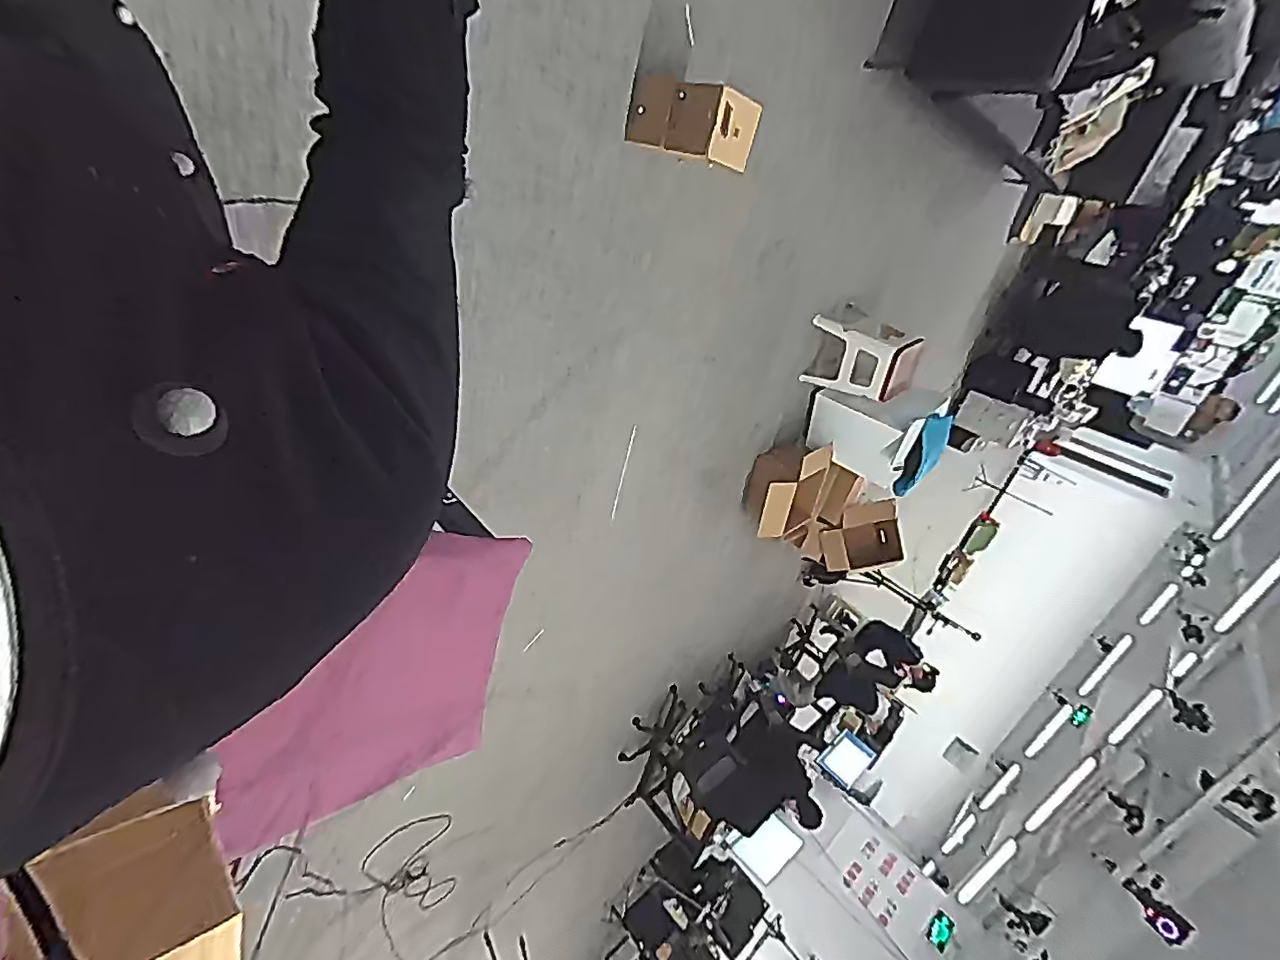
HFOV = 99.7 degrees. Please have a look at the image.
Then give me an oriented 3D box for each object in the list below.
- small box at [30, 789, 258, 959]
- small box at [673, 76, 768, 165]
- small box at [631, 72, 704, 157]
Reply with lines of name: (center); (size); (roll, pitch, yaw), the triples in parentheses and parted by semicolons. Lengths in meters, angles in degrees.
small box: (-0.578, 0.513, 0.638); (0.179, 0.176, 0.168); (-7, 125, -46)
small box: (0.217, -0.997, 1.499); (0.179, 0.176, 0.168); (-12, 128, -43)
small box: (0.105, -1.077, 1.589); (0.179, 0.176, 0.168); (-10, 126, -43)
